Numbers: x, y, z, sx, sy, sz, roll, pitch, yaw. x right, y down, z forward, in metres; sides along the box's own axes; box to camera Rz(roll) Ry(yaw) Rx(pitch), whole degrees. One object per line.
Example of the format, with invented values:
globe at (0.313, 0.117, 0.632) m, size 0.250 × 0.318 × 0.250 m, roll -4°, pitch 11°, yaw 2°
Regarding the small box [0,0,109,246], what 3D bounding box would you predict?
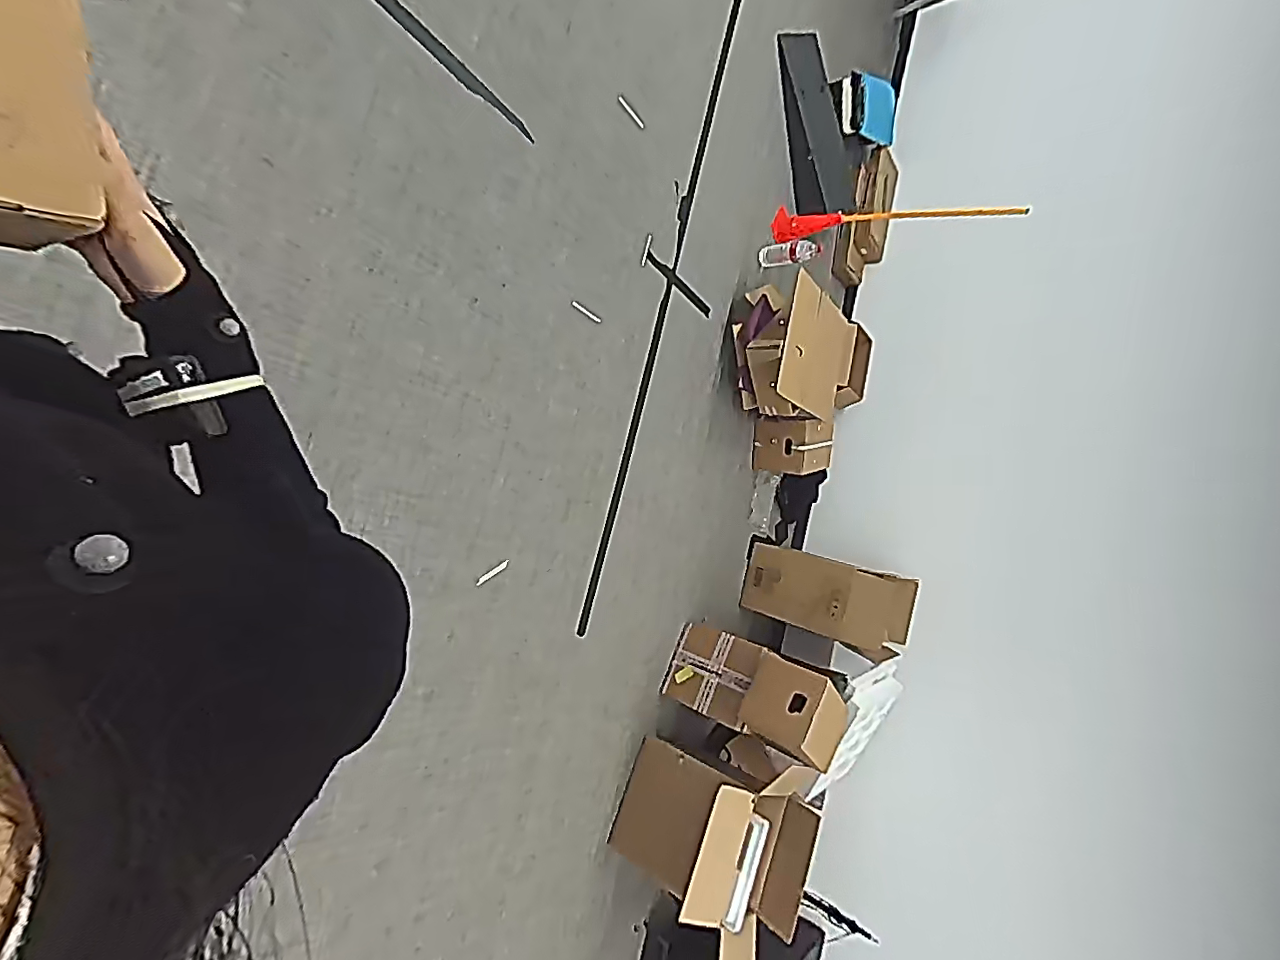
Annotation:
small box at (-0.391, -0.220, 0.254) m, size 0.168 × 0.176 × 0.179 m, roll -13°, pitch 110°, yaw -56°
